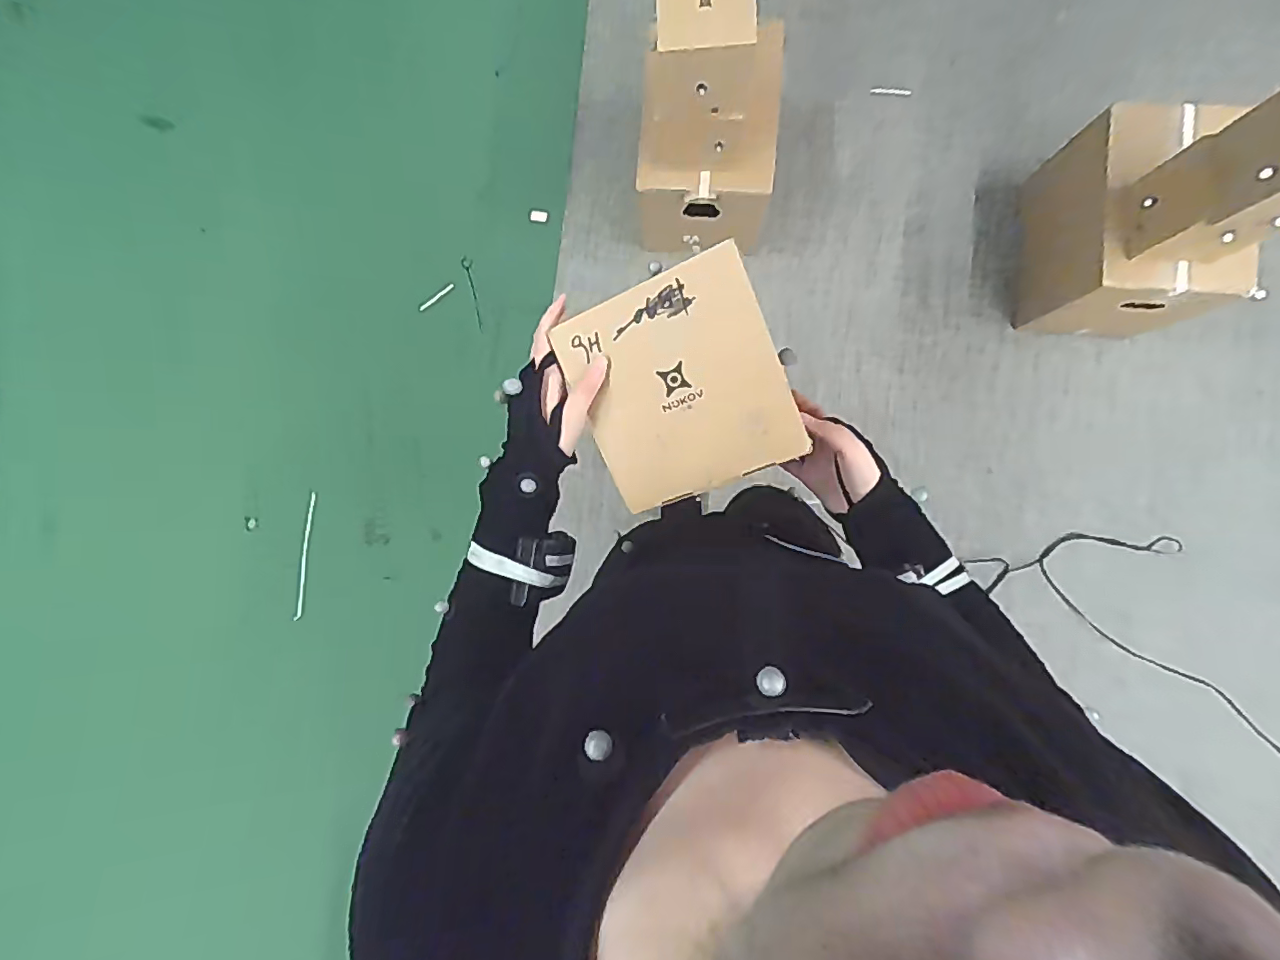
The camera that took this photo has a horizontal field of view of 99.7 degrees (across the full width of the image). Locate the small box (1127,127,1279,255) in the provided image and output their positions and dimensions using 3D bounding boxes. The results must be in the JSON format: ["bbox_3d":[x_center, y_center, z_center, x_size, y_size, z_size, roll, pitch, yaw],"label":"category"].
[{"bbox_3d":[1.121,-0.558,1.062,0.179,0.176,0.168,3,90,5],"label":"small box"}]

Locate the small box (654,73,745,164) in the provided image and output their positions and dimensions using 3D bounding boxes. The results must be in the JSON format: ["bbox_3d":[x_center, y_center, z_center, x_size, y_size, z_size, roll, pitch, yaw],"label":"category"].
[{"bbox_3d":[0.124,-0.788,1.128,0.179,0.176,0.168,3,88,5],"label":"small box"}]

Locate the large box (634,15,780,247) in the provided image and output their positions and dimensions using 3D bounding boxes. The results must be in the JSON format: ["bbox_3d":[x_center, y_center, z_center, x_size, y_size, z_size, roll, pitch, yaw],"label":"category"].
[{"bbox_3d":[0.164,-0.852,1.371,0.320,0.320,0.408,4,88,4],"label":"large box"}]

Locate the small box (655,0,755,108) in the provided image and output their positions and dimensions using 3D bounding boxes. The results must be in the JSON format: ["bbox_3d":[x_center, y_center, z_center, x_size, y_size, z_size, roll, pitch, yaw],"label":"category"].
[{"bbox_3d":[0.113,-0.798,0.964,0.168,0.176,0.179,-1,88,4],"label":"small box"}]

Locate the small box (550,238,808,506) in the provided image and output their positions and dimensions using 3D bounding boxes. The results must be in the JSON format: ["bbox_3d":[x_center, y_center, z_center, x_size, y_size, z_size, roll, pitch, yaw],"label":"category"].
[{"bbox_3d":[0.047,-0.104,0.511,0.168,0.176,0.179,-20,103,18],"label":"small box"}]
